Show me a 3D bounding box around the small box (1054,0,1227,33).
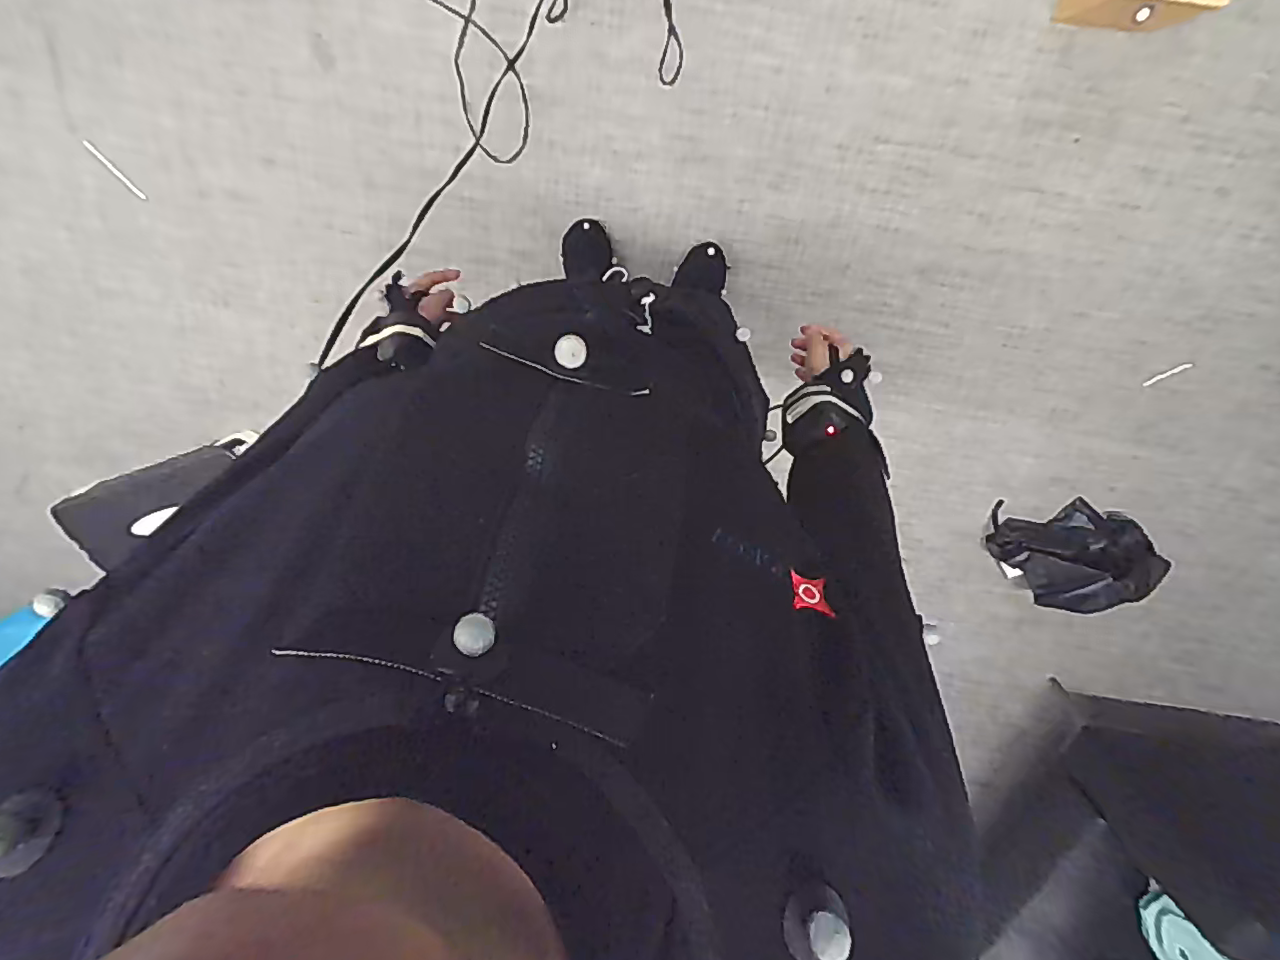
[{"bbox_3d":[0.837,-0.852,0.875,0.179,0.176,0.168,7,118,0],"label":"small box"}]
